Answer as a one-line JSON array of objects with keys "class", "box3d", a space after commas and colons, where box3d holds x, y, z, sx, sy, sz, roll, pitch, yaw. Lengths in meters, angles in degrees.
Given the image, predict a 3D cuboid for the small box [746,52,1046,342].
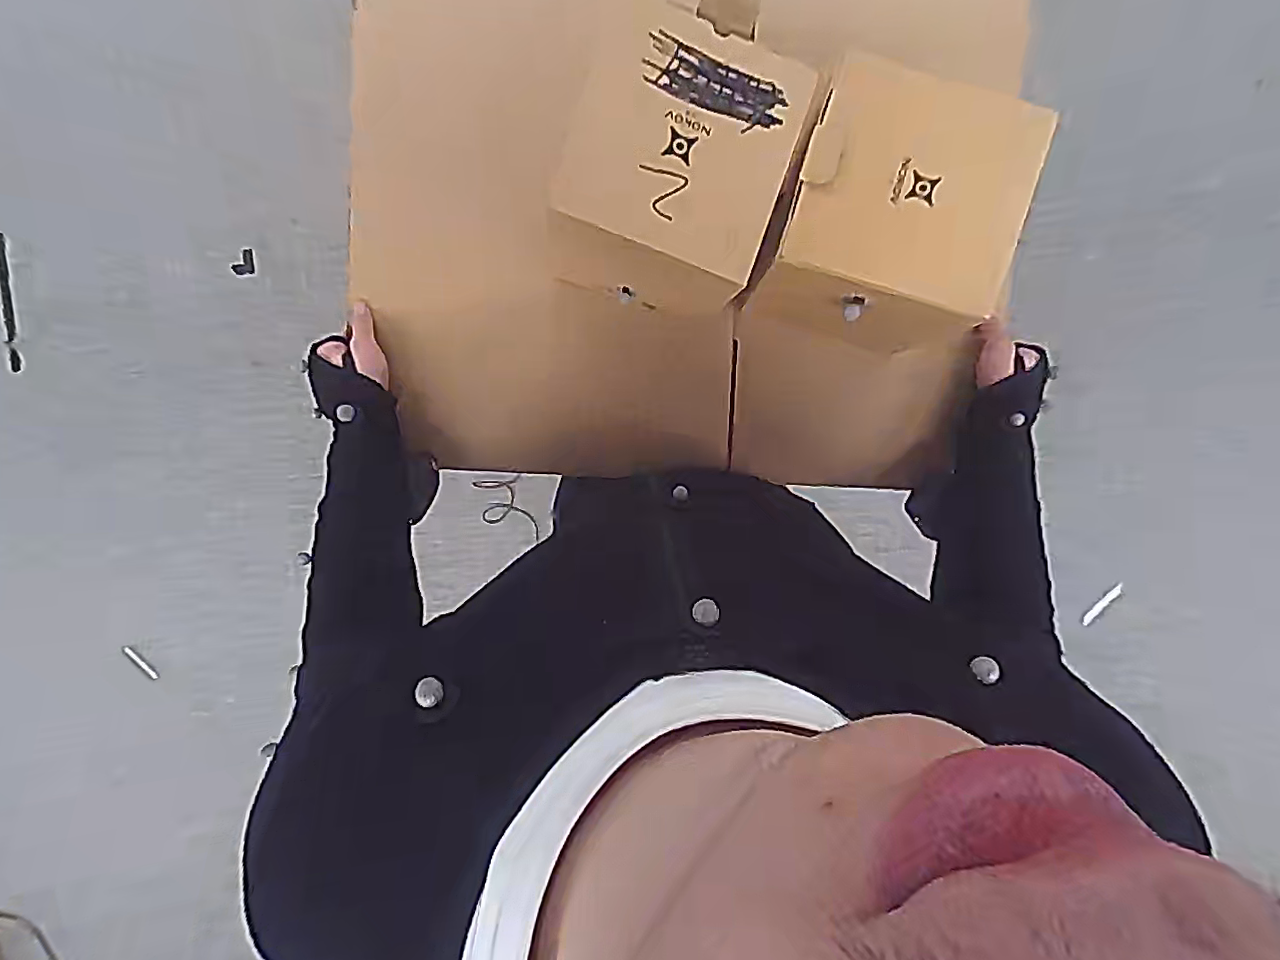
[{"class": "small box", "box3d": [0.216, -0.240, 0.509, 0.179, 0.176, 0.168, 17, 93, 1]}]
